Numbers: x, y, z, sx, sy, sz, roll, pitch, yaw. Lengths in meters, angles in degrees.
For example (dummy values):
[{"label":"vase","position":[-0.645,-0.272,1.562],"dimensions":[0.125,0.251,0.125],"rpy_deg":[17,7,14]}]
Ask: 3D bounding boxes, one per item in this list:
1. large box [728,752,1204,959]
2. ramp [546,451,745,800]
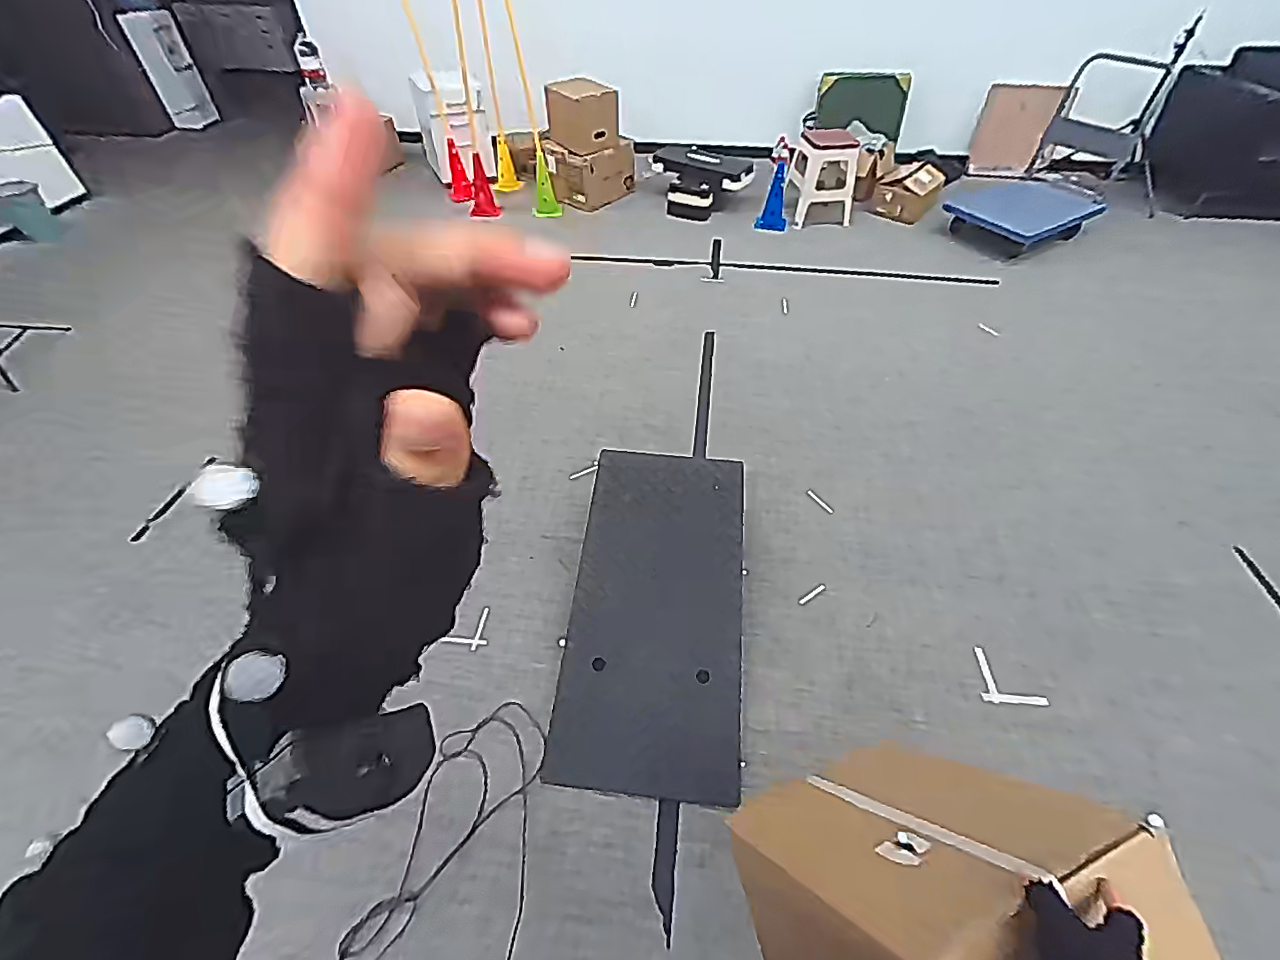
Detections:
[{"label":"large box","position":[0.361,0.576,0.650],"dimensions":[0.320,0.408,0.320],"rpy_deg":[-12,79,-19]},{"label":"ramp","position":[0.060,0.342,1.592],"dimensions":[0.509,0.206,0.991],"rpy_deg":[4,48,2]}]
